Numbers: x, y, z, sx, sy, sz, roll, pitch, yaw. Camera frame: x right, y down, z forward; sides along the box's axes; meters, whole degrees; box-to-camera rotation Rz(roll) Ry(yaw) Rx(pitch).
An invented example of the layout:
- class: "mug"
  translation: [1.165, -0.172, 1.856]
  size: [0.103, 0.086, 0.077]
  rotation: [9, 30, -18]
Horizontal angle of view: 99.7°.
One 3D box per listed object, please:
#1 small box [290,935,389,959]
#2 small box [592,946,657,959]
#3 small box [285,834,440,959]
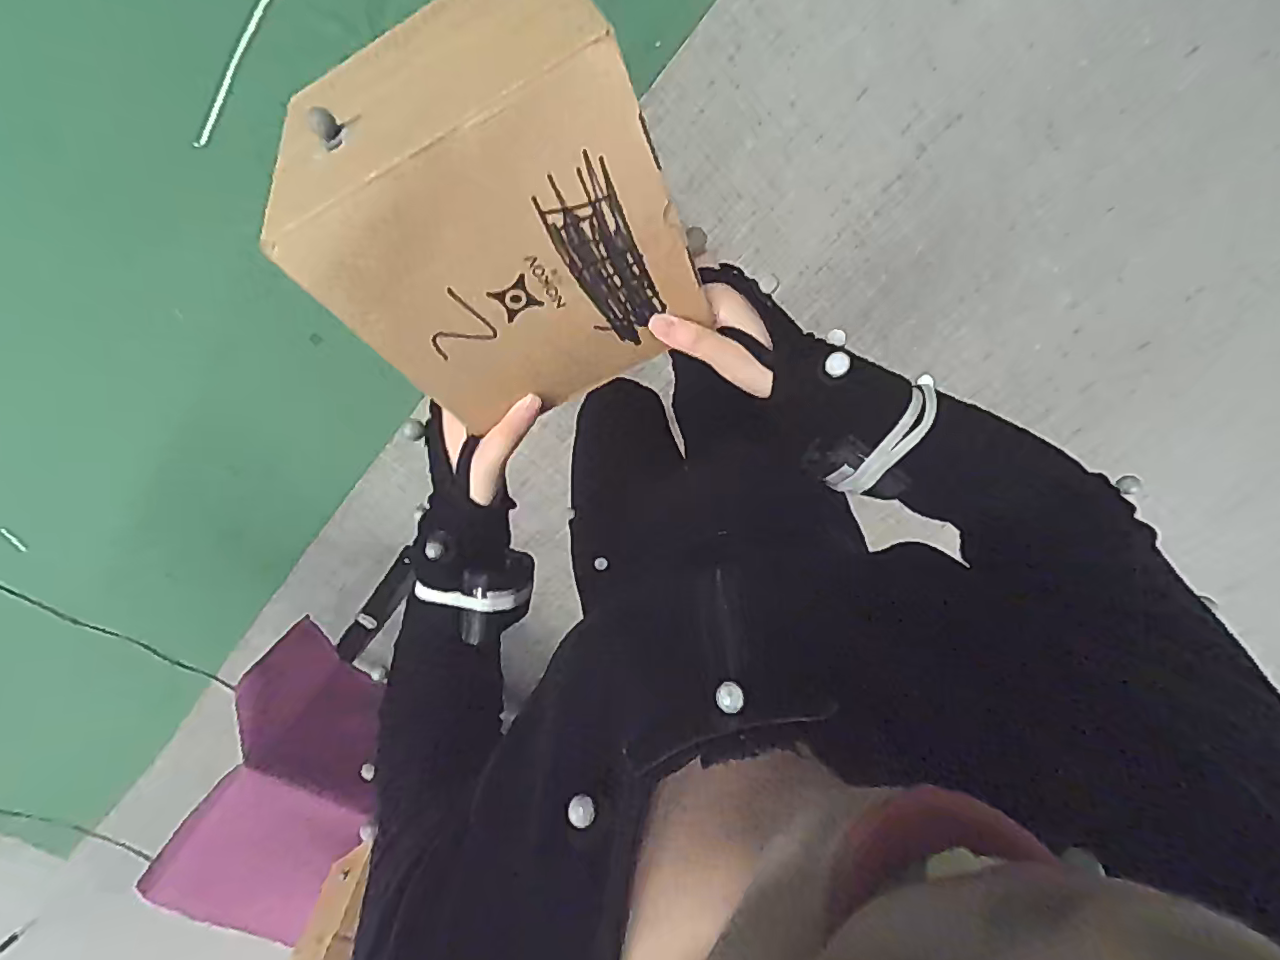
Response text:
- class: "small box"
  translation: [-0.528, 0.903, 0.899]
  size: [0.168, 0.176, 0.179]
  rotation: [39, 112, -17]
- class: "small box"
  translation: [-0.019, 1.218, 1.239]
  size: [0.168, 0.176, 0.179]
  rotation: [-40, 110, 19]
- class: "small box"
  translation: [-0.522, 0.828, 1.045]
  size: [0.168, 0.176, 0.179]
  rotation: [-40, 110, 20]
